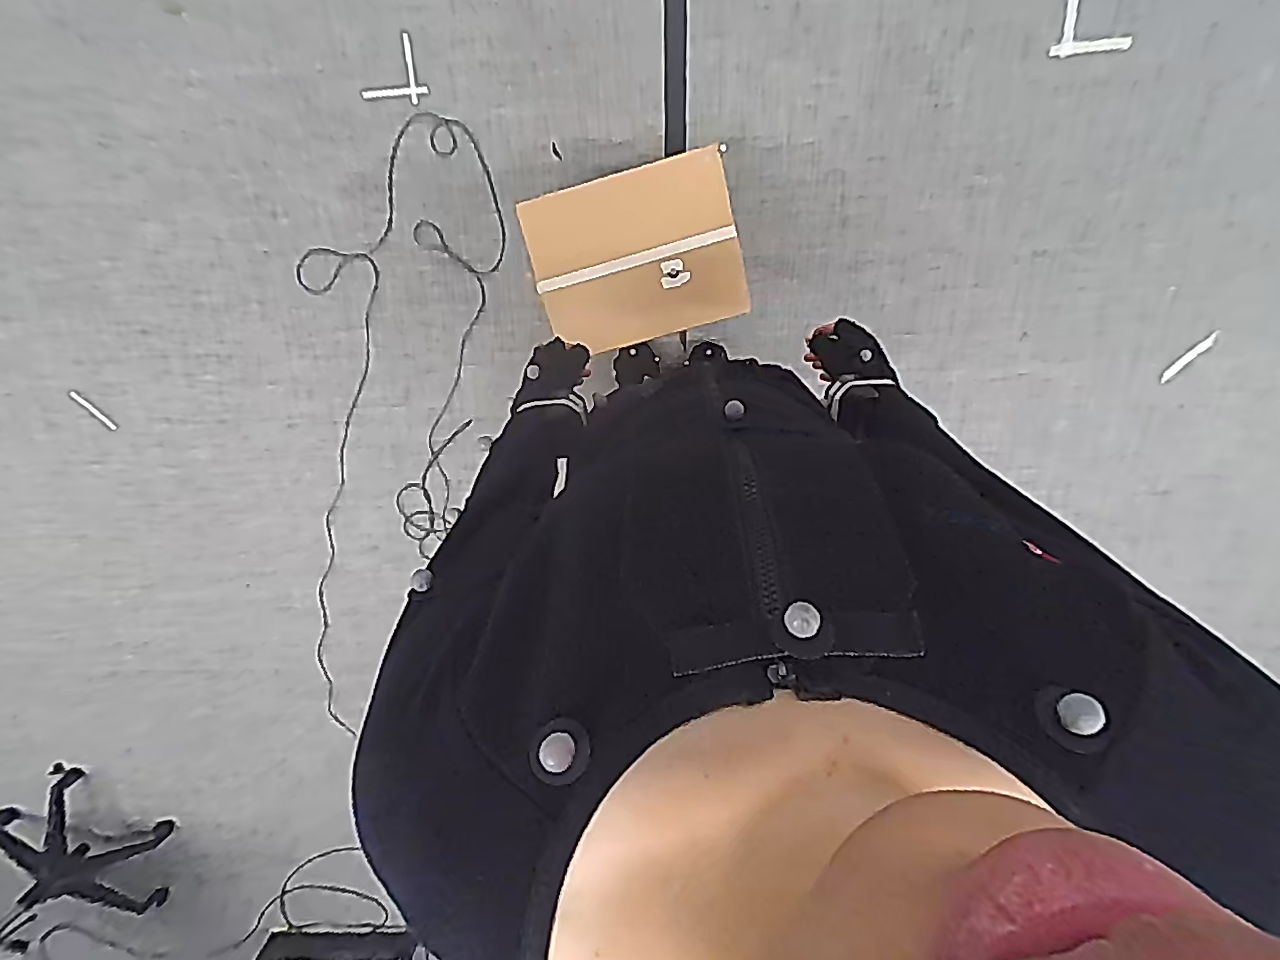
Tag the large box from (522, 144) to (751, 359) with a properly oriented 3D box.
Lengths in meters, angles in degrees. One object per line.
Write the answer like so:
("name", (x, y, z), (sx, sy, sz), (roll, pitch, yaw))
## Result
("large box", (-0.001, -0.484, 1.219), (0.408, 0.320, 0.320), (-14, 106, 5))
